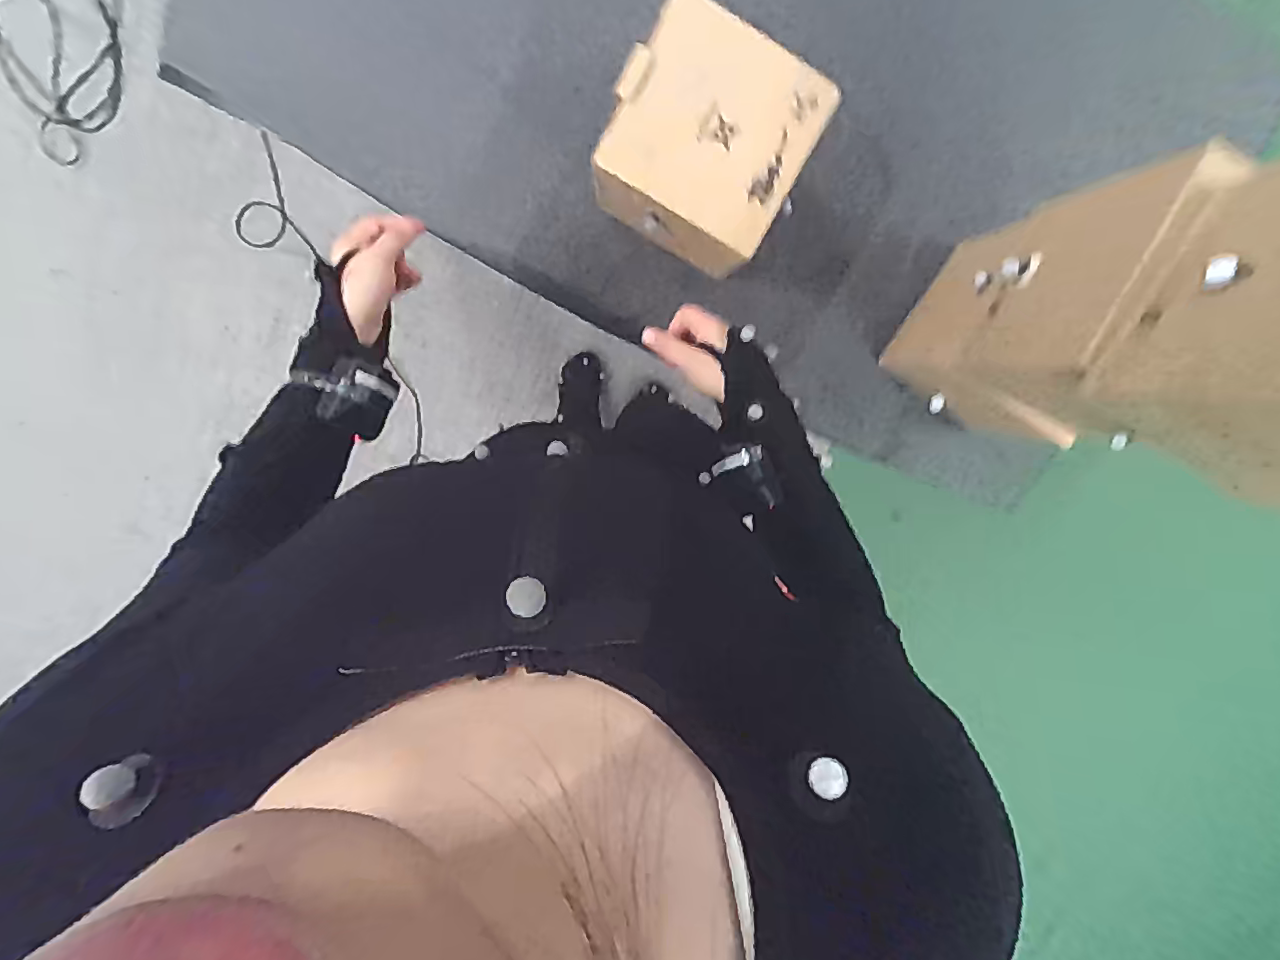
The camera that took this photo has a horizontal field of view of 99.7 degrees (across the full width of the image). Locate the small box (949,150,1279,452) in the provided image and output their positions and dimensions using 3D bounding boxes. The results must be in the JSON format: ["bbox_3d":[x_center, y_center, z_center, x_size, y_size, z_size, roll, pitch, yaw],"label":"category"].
[{"bbox_3d":[0.418,-0.131,0.460,0.179,0.176,0.168,24,99,-6],"label":"small box"}]

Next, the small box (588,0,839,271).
[{"bbox_3d":[0.064,-0.342,0.568,0.179,0.176,0.168,29,100,-8],"label":"small box"}]

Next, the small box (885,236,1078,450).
[{"bbox_3d":[0.422,-0.161,0.620,0.168,0.176,0.179,32,100,-8],"label":"small box"}]

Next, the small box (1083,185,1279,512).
[{"bbox_3d":[0.425,-0.070,0.305,0.179,0.176,0.168,29,99,-8],"label":"small box"}]
